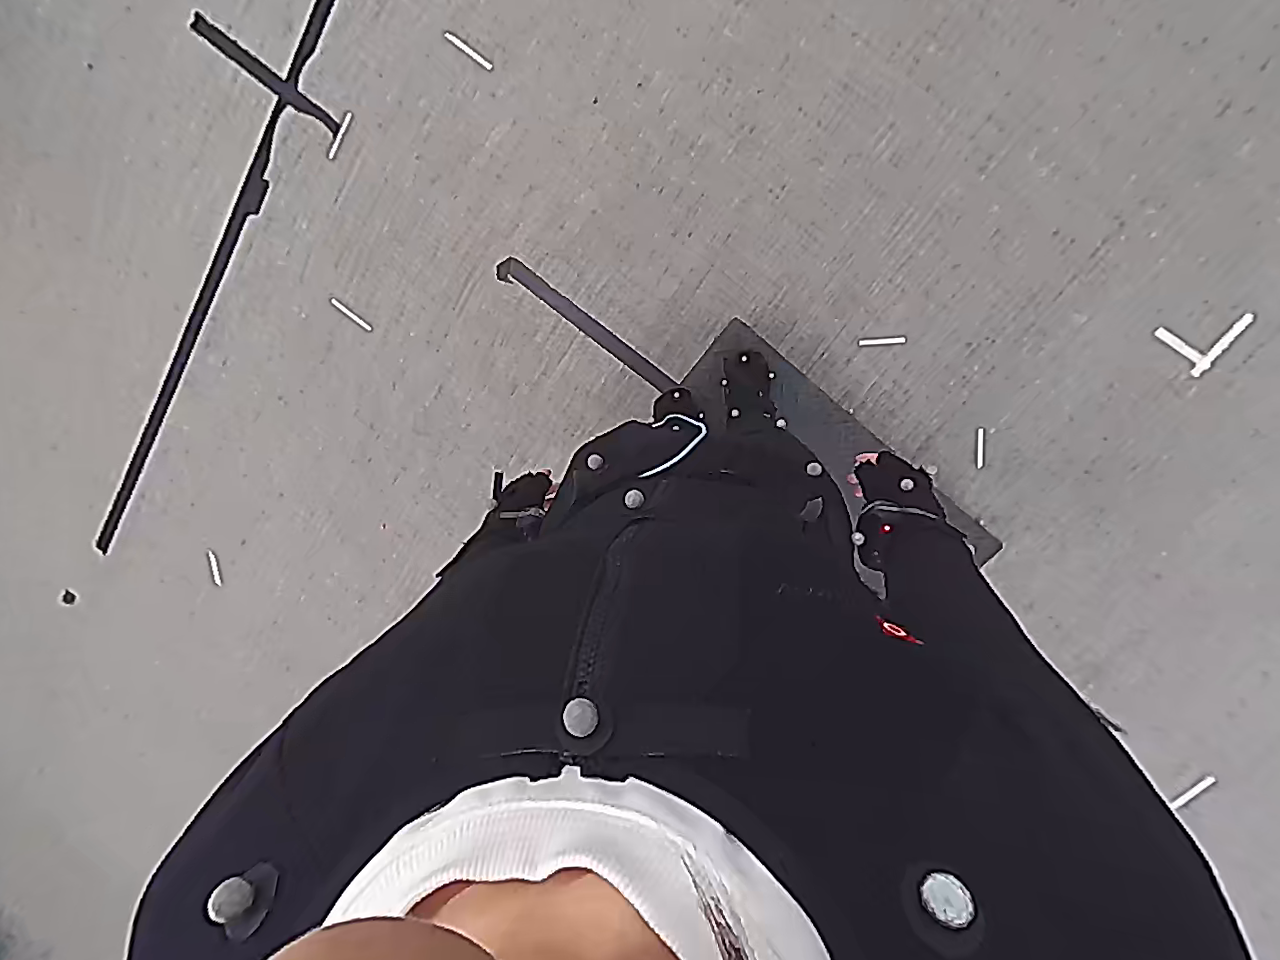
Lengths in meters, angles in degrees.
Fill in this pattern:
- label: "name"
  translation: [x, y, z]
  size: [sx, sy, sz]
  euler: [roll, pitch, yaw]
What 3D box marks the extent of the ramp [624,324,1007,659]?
- label: "ramp"
  translation: [0.493, 0.073, 1.483]
  size: [0.991, 0.206, 0.509]
  euler: [36, 104, 0]
